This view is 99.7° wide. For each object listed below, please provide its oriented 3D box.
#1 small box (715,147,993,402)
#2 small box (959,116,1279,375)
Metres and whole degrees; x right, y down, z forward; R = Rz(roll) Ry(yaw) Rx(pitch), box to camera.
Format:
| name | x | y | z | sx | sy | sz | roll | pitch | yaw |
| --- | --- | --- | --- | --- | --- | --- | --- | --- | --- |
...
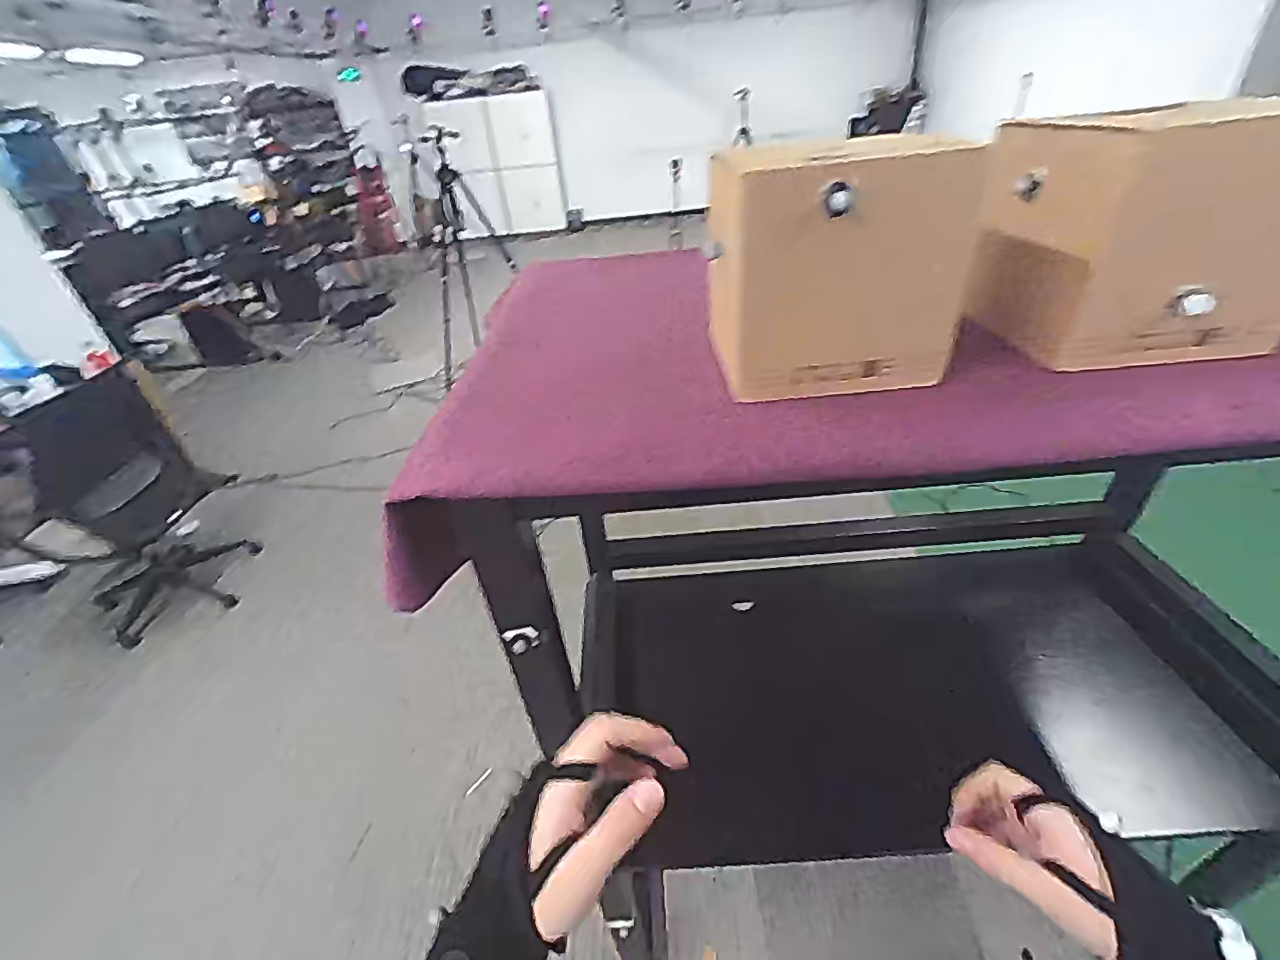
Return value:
| name | x | y | z | sx | sy | sz | roll | pitch | yaw |
| --- | --- | --- | --- | --- | --- | --- | --- | --- | --- |
| small box | 0.156 | -0.182 | 0.470 | 0.168 | 0.176 | 0.179 | -5 | 34 | 2 |
| small box | 0.408 | -0.203 | 0.462 | 0.168 | 0.176 | 0.179 | -4 | 35 | 3 |
